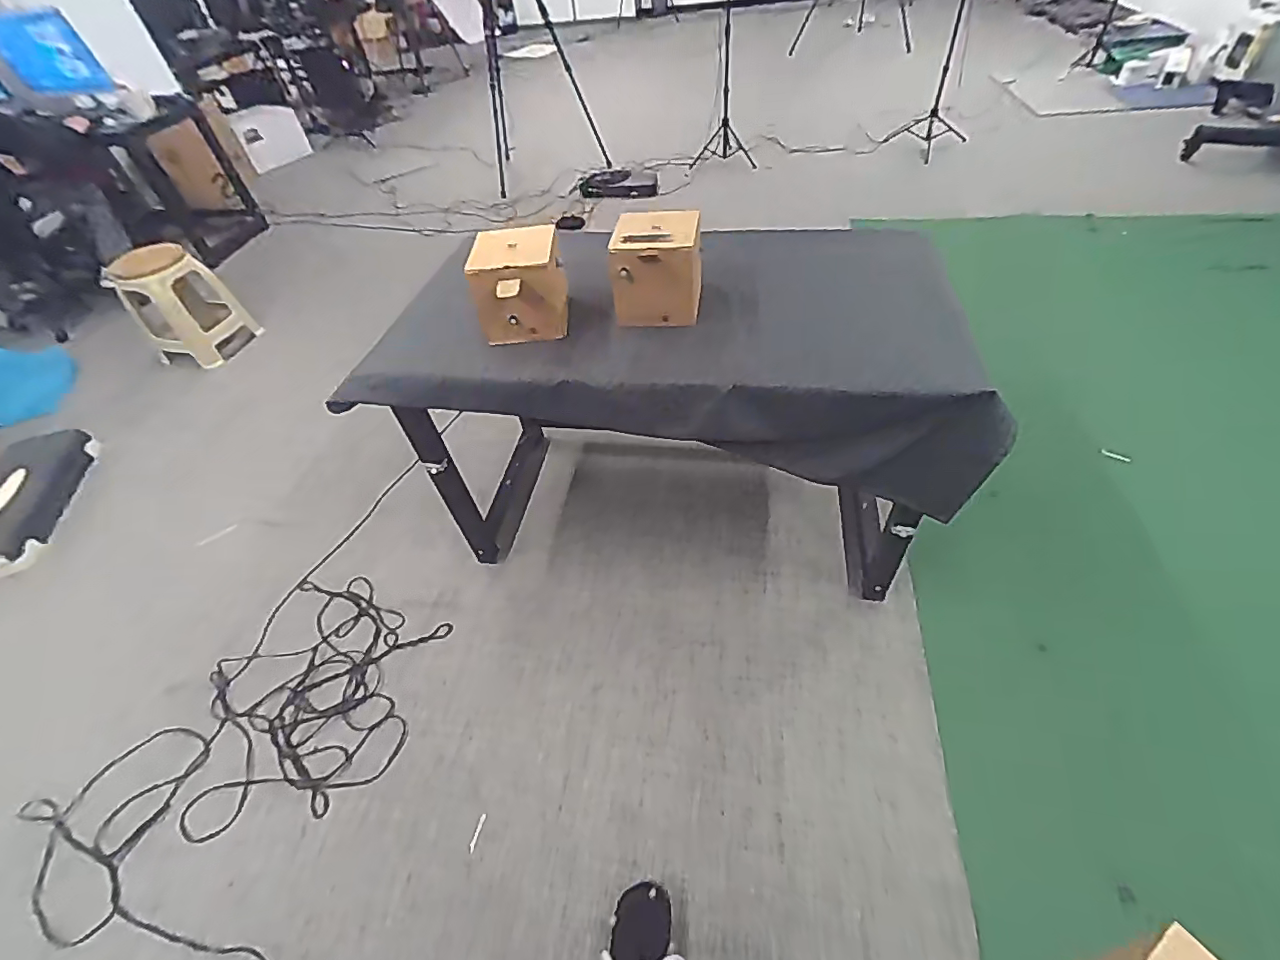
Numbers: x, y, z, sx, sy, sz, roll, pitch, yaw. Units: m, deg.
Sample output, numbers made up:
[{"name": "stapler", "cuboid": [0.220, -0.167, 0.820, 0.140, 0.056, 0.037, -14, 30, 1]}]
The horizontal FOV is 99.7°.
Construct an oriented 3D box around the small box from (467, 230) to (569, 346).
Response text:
[{"name": "small box", "cuboid": [-0.245, -0.402, 1.139, 0.168, 0.176, 0.179, -5, 48, 2]}]
